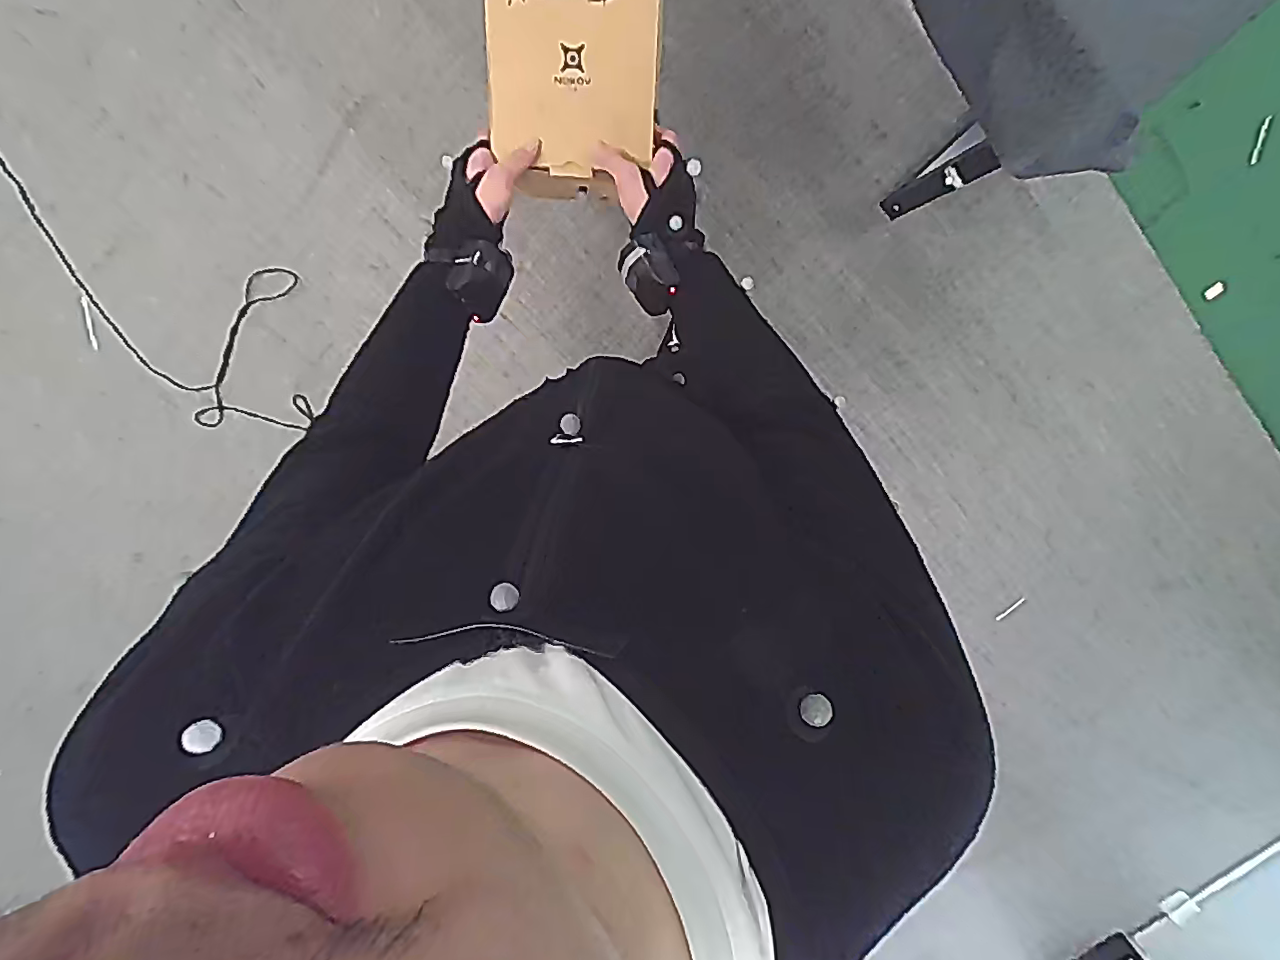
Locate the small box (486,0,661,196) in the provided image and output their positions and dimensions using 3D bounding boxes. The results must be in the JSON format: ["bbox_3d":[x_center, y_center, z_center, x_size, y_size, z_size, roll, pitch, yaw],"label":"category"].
[{"bbox_3d":[-0.062,-0.426,0.603,0.168,0.176,0.179,1,108,2],"label":"small box"}]
